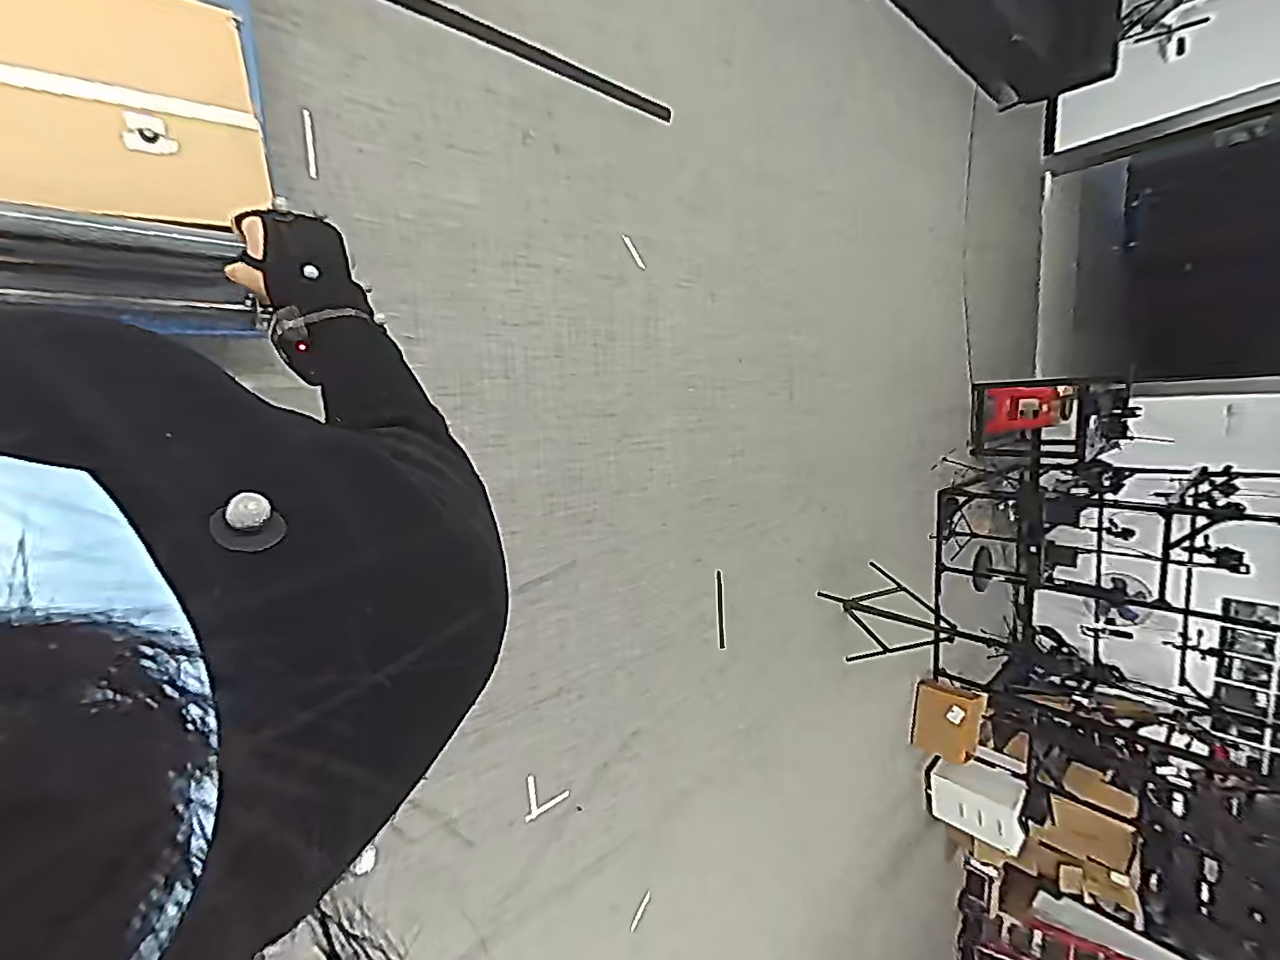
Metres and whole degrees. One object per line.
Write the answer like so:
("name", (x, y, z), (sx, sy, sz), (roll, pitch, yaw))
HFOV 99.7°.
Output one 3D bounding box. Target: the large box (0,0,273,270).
("large box", (-0.850, -0.518, 0.817), (0.408, 0.320, 0.320), (-15, 104, -42))
